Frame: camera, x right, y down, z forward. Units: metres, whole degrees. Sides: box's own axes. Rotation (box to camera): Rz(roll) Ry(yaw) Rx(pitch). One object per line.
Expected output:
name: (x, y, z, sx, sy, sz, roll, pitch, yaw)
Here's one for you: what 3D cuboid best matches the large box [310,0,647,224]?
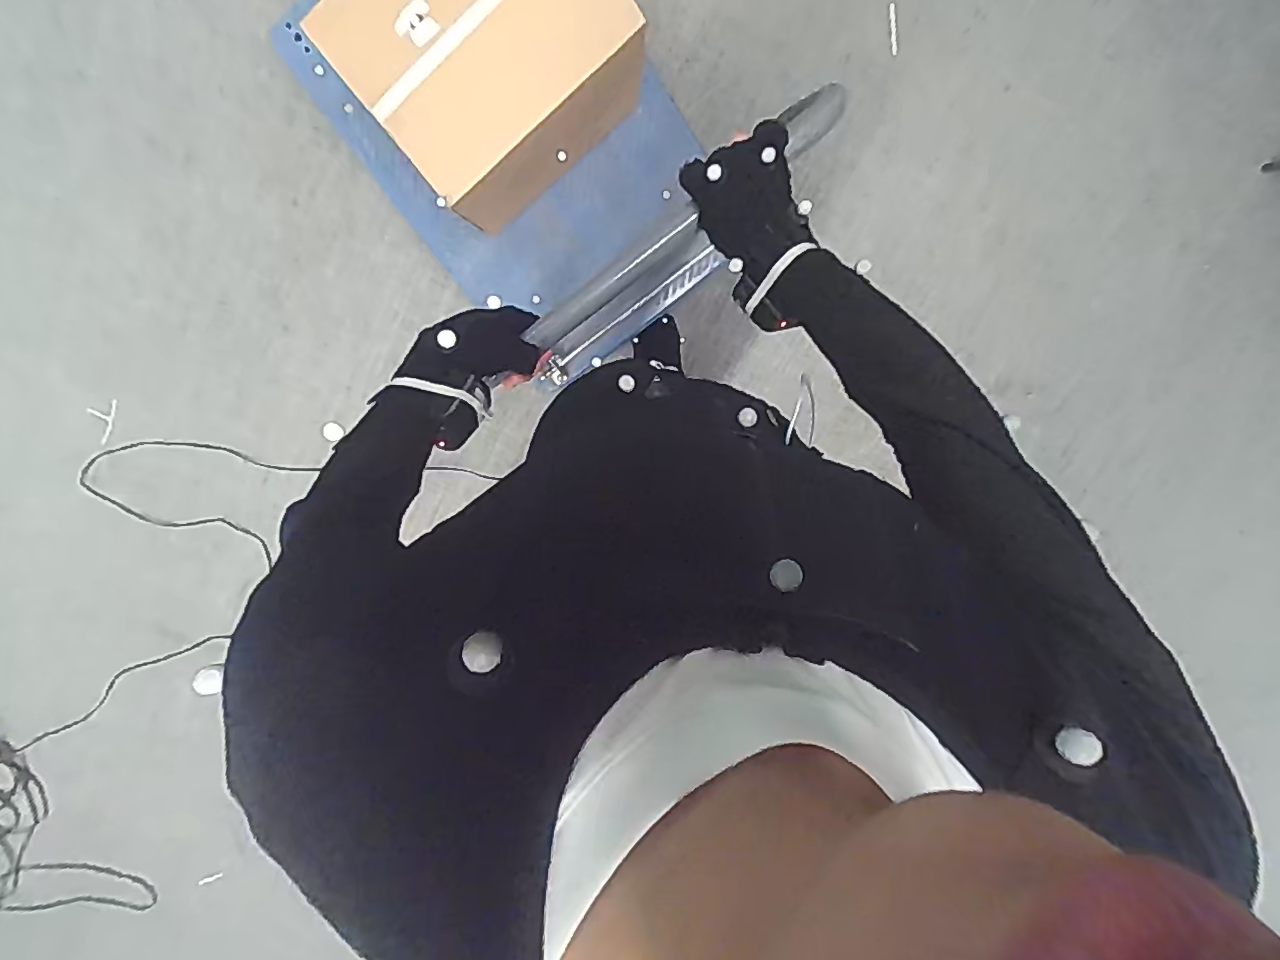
large box: (-0.239, -0.722, 0.928, 0.408, 0.320, 0.320, -38, 104, 9)
